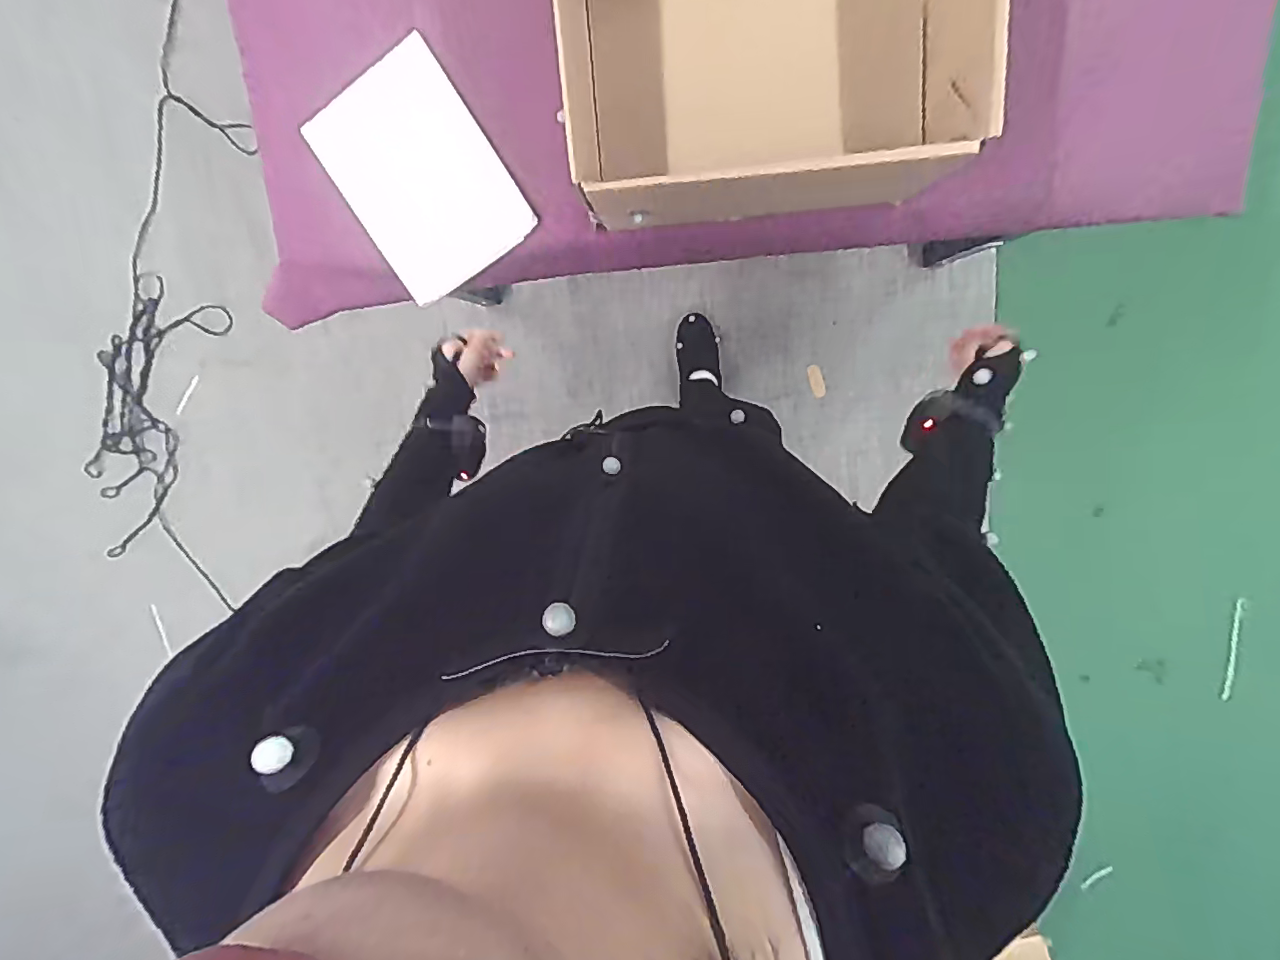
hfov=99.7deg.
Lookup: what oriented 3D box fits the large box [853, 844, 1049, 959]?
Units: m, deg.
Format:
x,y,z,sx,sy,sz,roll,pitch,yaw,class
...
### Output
x,y,z,sx,sy,sz,roll,pitch,yaw,class
0.899,1.350,1.566,0.408,0.320,0.320,-19,100,6,large box
